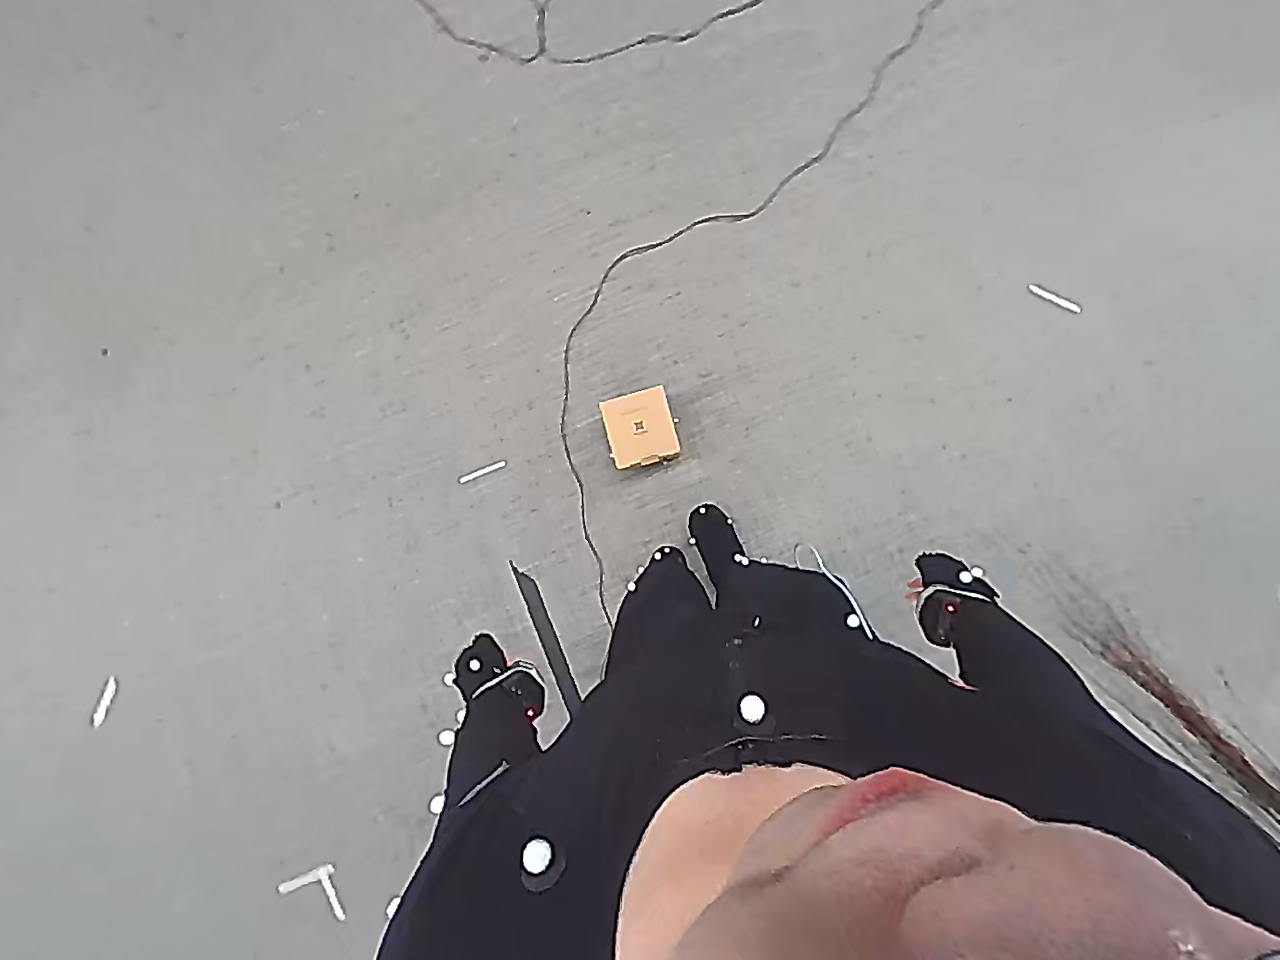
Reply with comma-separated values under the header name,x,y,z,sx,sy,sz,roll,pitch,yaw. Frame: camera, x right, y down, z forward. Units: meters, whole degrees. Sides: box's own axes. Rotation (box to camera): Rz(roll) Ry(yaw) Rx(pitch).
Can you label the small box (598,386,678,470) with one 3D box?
name,x,y,z,sx,sy,sz,roll,pitch,yaw
small box,0.001,-0.130,1.418,0.168,0.176,0.179,-16,89,2
